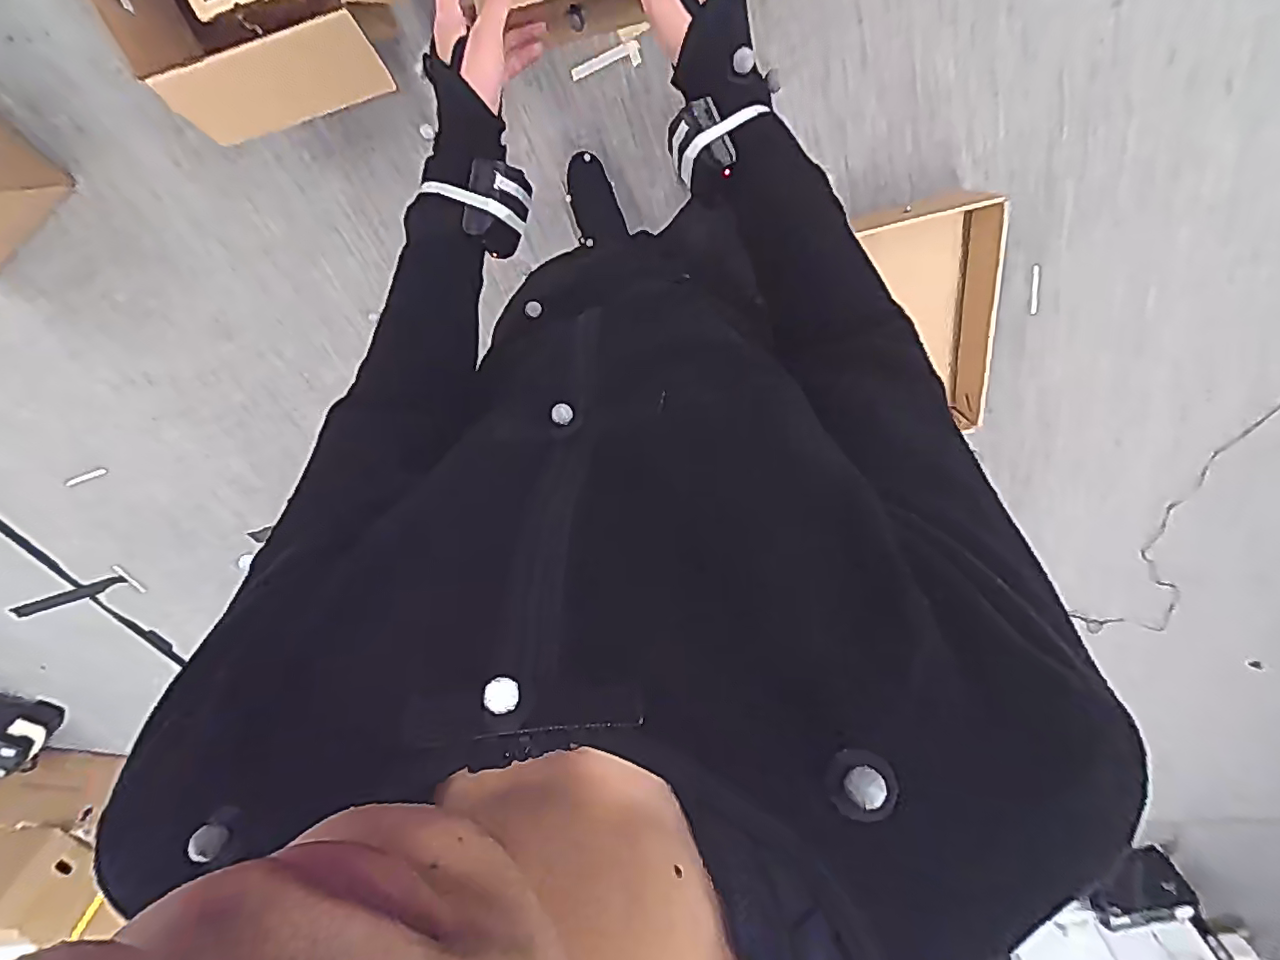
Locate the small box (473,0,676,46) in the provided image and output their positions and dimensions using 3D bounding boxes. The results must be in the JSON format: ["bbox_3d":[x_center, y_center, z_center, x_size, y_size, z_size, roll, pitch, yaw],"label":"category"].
[{"bbox_3d":[-0.058,-0.498,0.457,0.179,0.176,0.168,-8,120,7],"label":"small box"}]
